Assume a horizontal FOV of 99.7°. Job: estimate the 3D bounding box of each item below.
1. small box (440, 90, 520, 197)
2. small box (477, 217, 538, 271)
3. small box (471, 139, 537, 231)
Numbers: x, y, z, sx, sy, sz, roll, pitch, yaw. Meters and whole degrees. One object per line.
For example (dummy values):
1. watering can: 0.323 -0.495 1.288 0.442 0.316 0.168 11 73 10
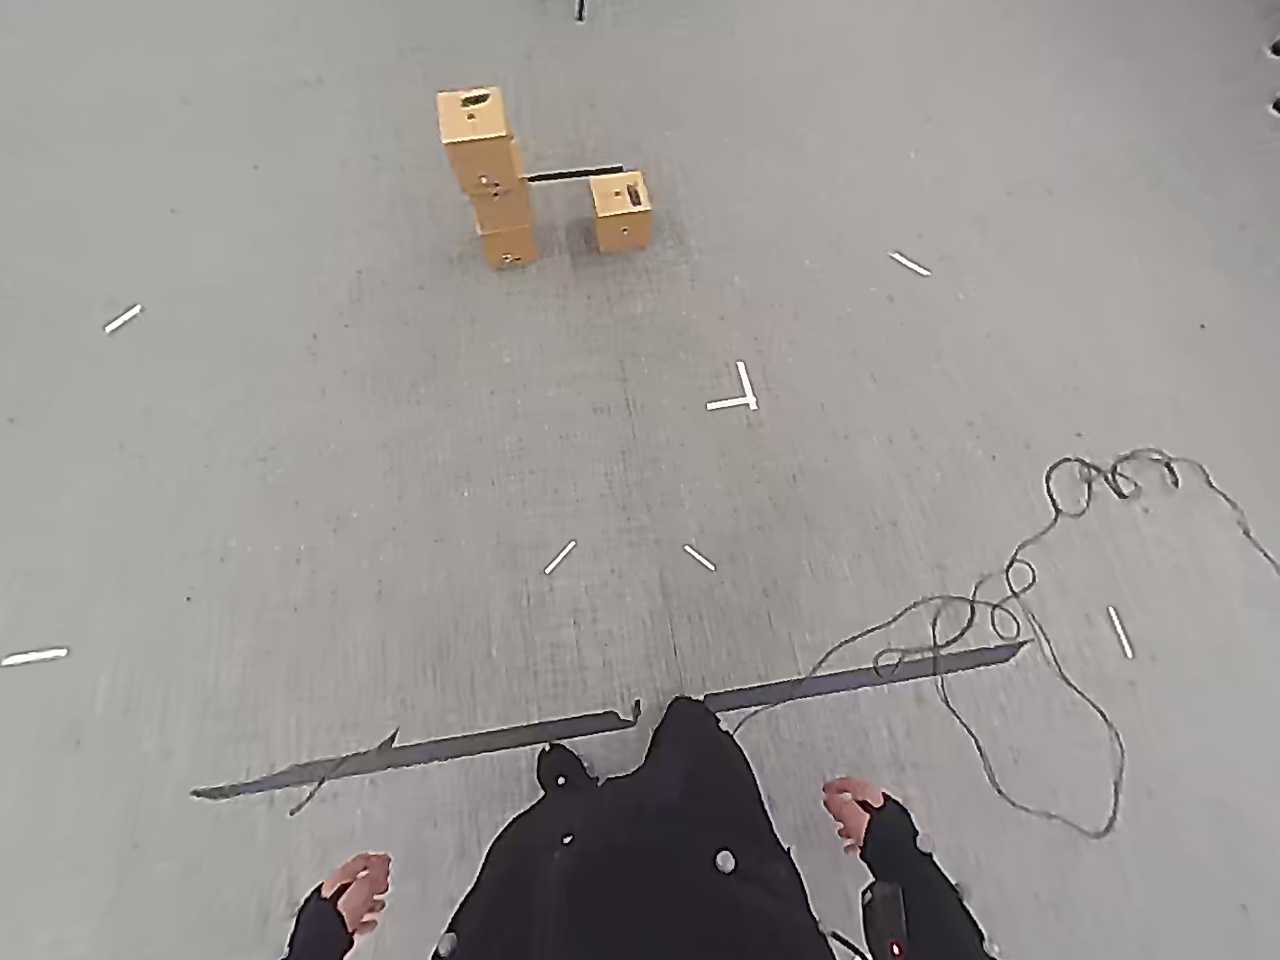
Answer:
1. small box: -0.428 -0.908 1.466 0.168 0.176 0.179 -10 73 -4
2. small box: -0.440 -0.826 1.784 0.168 0.176 0.179 -12 73 -6
3. small box: -0.423 -0.882 1.630 0.179 0.176 0.168 -13 73 -6
